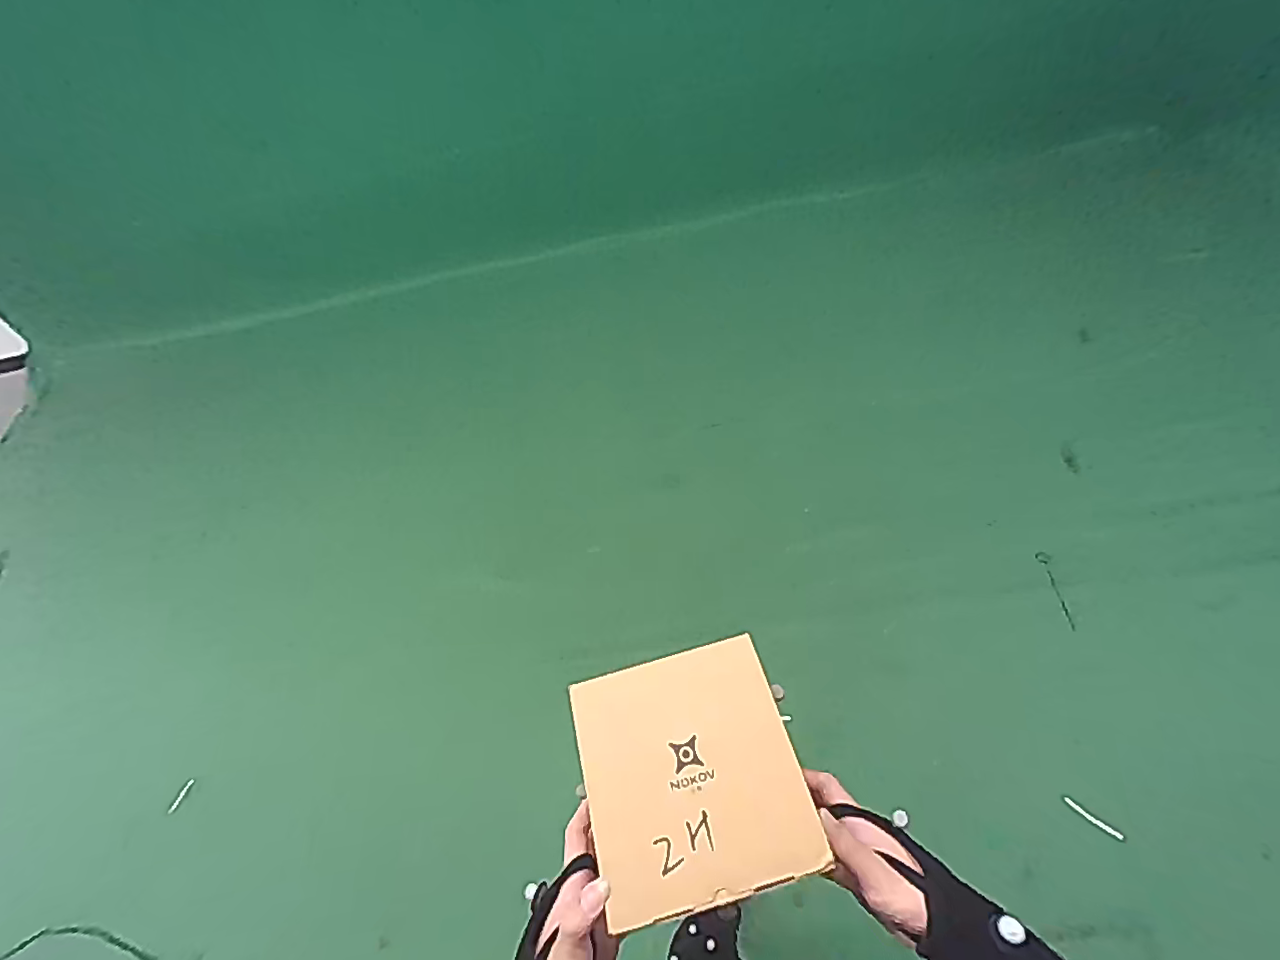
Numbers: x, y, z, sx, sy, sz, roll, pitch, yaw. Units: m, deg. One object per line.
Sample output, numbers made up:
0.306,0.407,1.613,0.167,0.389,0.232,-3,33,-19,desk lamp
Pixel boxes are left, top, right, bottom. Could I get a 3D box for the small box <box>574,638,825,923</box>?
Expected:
0.046,0.272,0.497,0.168,0.176,0.179,-15,55,-1,small box
